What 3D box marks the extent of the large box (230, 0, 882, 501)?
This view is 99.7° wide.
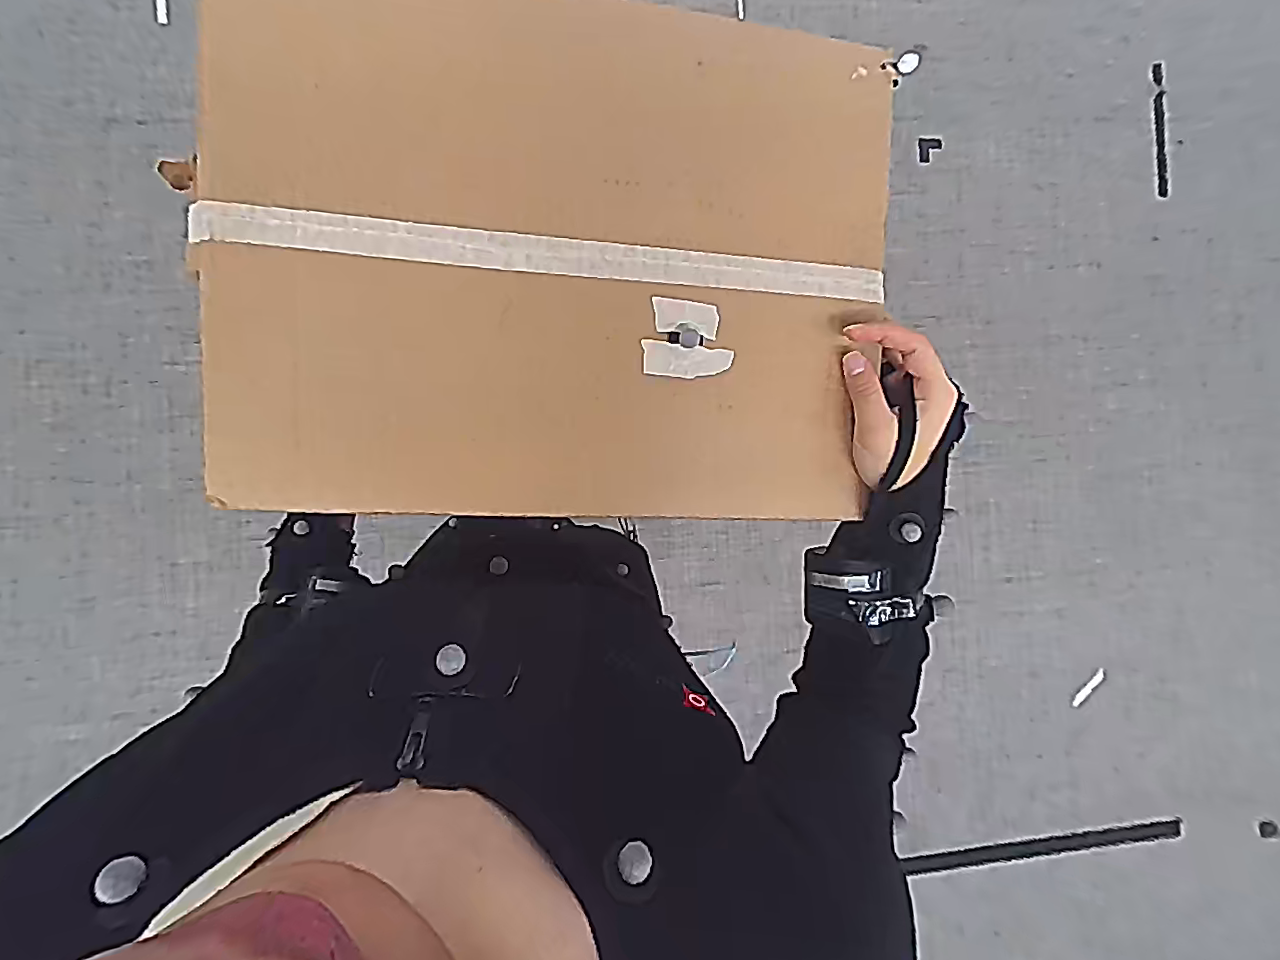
[{"bbox_3d":[-0.063,-0.150,0.482,0.408,0.320,0.320,2,94,-12],"label":"large box"}]
